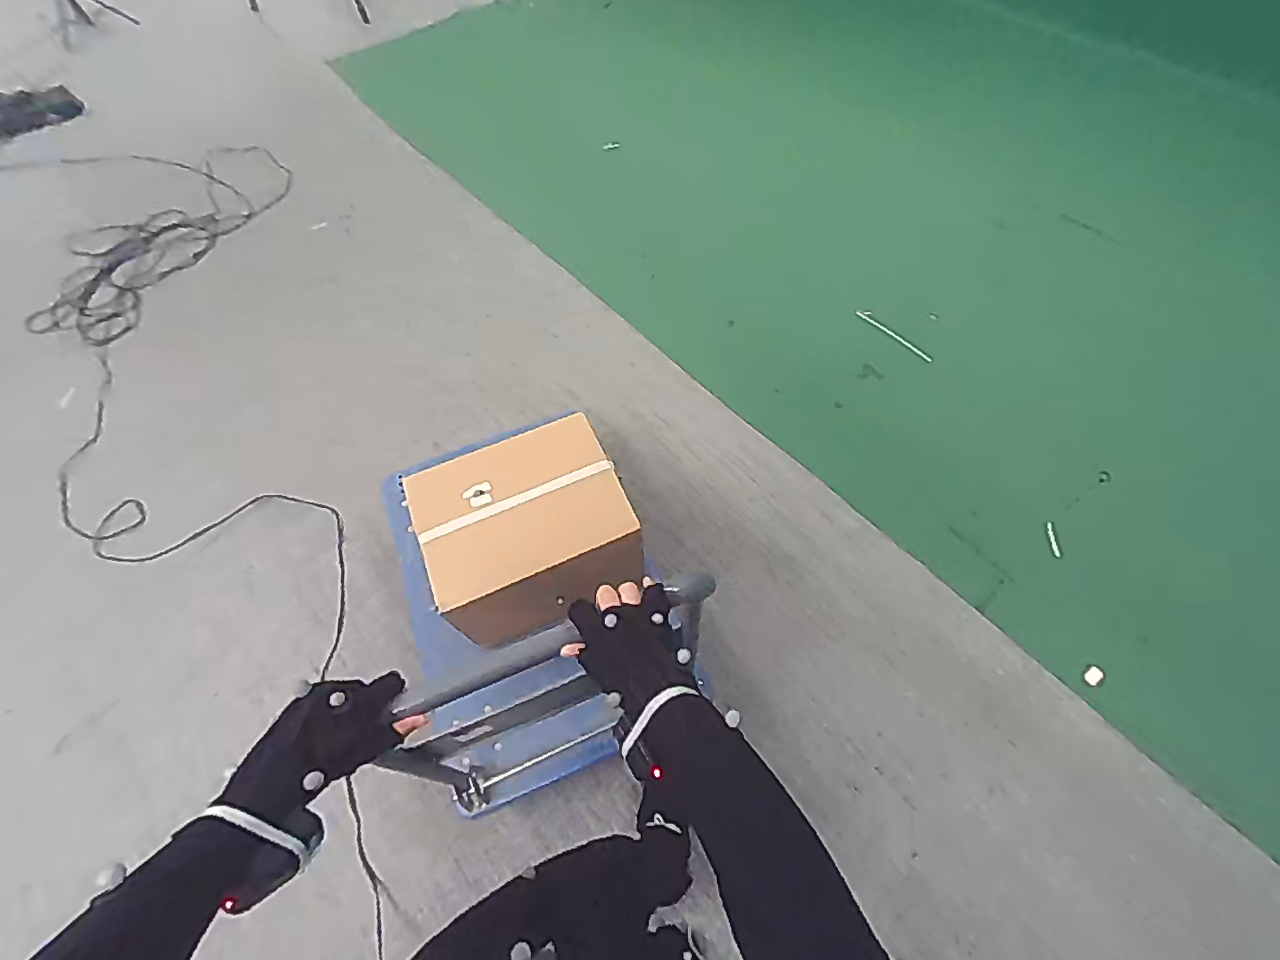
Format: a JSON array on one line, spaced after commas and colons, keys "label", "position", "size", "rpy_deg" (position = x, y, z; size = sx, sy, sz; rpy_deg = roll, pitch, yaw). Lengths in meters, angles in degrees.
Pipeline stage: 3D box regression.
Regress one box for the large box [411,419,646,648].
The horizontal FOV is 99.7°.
[{"label": "large box", "position": [-0.232, 0.130, 1.224], "size": [0.408, 0.320, 0.320], "rpy_deg": [-23, 62, -9]}]
